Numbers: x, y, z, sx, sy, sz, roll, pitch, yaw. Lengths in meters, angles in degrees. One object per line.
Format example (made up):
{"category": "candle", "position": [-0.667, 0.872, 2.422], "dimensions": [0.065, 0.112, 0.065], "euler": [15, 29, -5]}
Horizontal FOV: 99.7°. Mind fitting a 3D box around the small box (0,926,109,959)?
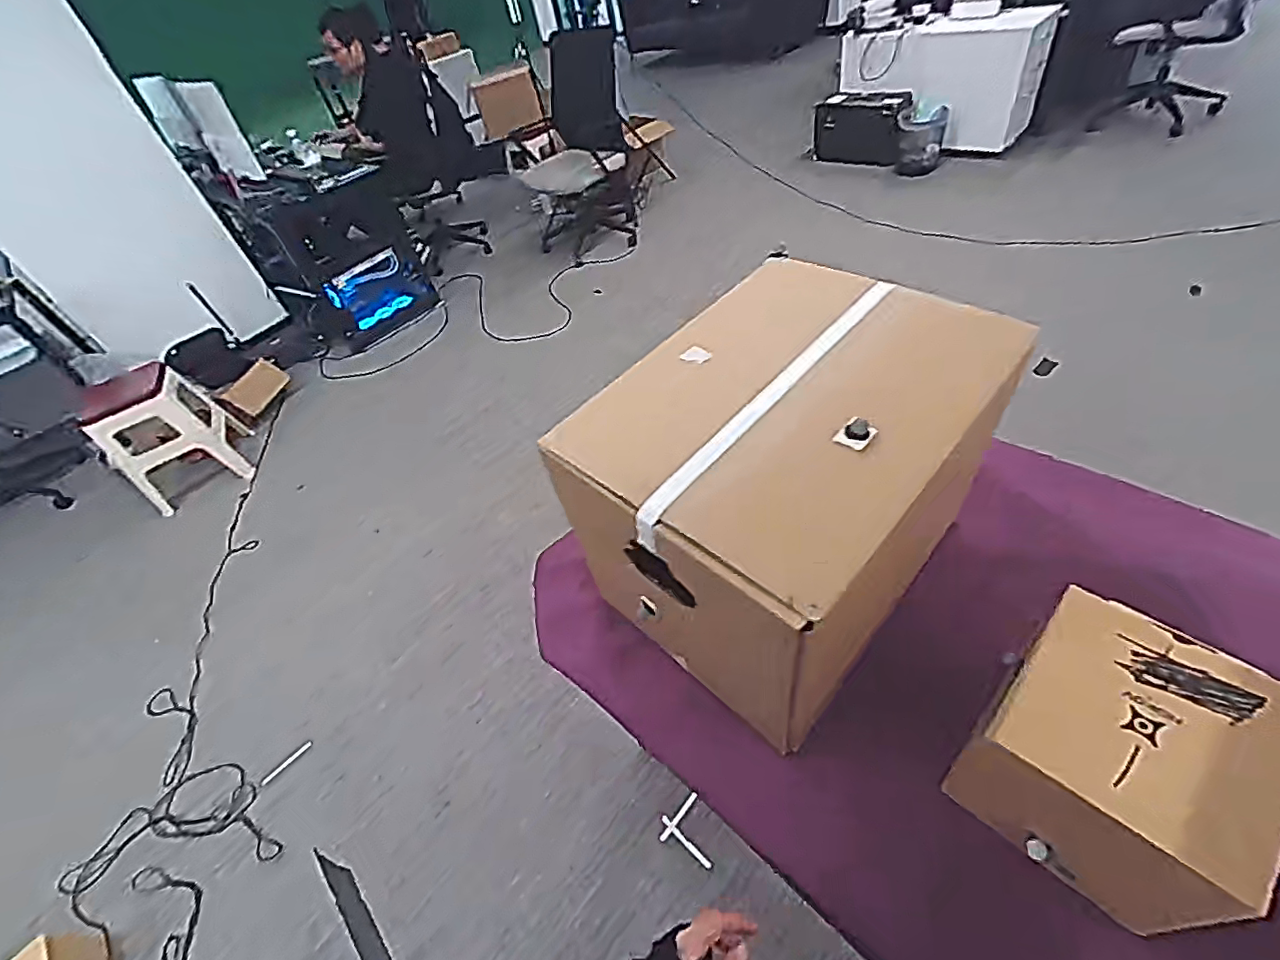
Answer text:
{"category": "small box", "position": [-1.225, 1.031, 1.075], "dimensions": [0.168, 0.176, 0.179], "euler": [-13, 55, -17]}
